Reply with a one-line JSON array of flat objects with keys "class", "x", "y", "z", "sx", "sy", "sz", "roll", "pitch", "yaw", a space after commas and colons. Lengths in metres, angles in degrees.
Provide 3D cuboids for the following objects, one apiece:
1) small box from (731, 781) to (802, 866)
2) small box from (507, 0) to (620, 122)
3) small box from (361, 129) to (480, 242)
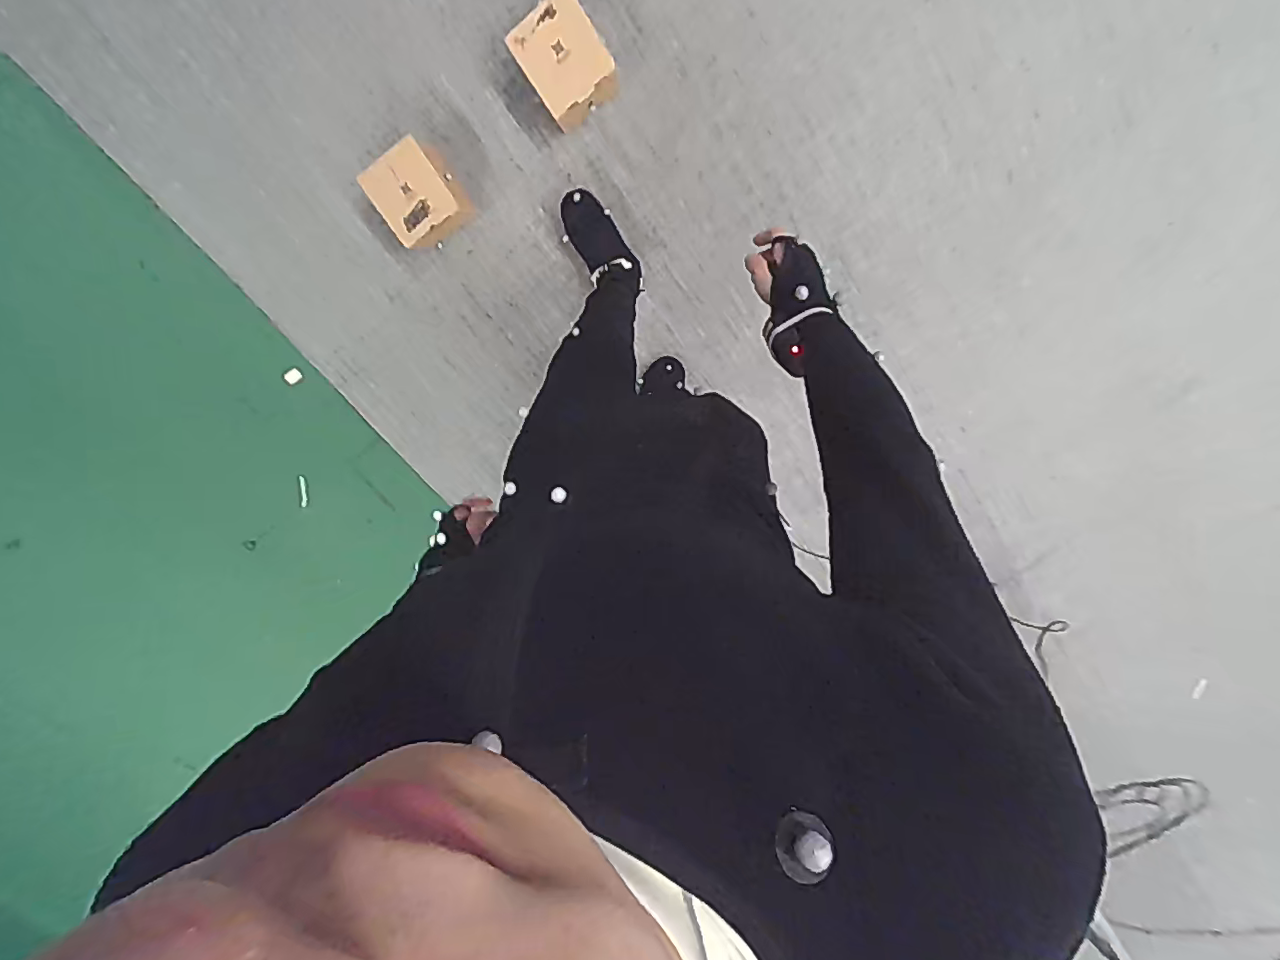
[{"class": "small box", "x": 0.445, "y": 1.213, "z": 1.917, "sx": 0.168, "sy": 0.176, "sz": 0.179, "roll": -34, "pitch": 109, "yaw": 13}, {"class": "small box", "x": -0.155, "y": -0.916, "z": 1.176, "sx": 0.168, "sy": 0.176, "sz": 0.179, "roll": -31, "pitch": 111, "yaw": 13}, {"class": "small box", "x": -0.513, "y": -0.696, "z": 1.296, "sx": 0.168, "sy": 0.176, "sz": 0.179, "roll": -29, "pitch": 110, "yaw": 12}]
